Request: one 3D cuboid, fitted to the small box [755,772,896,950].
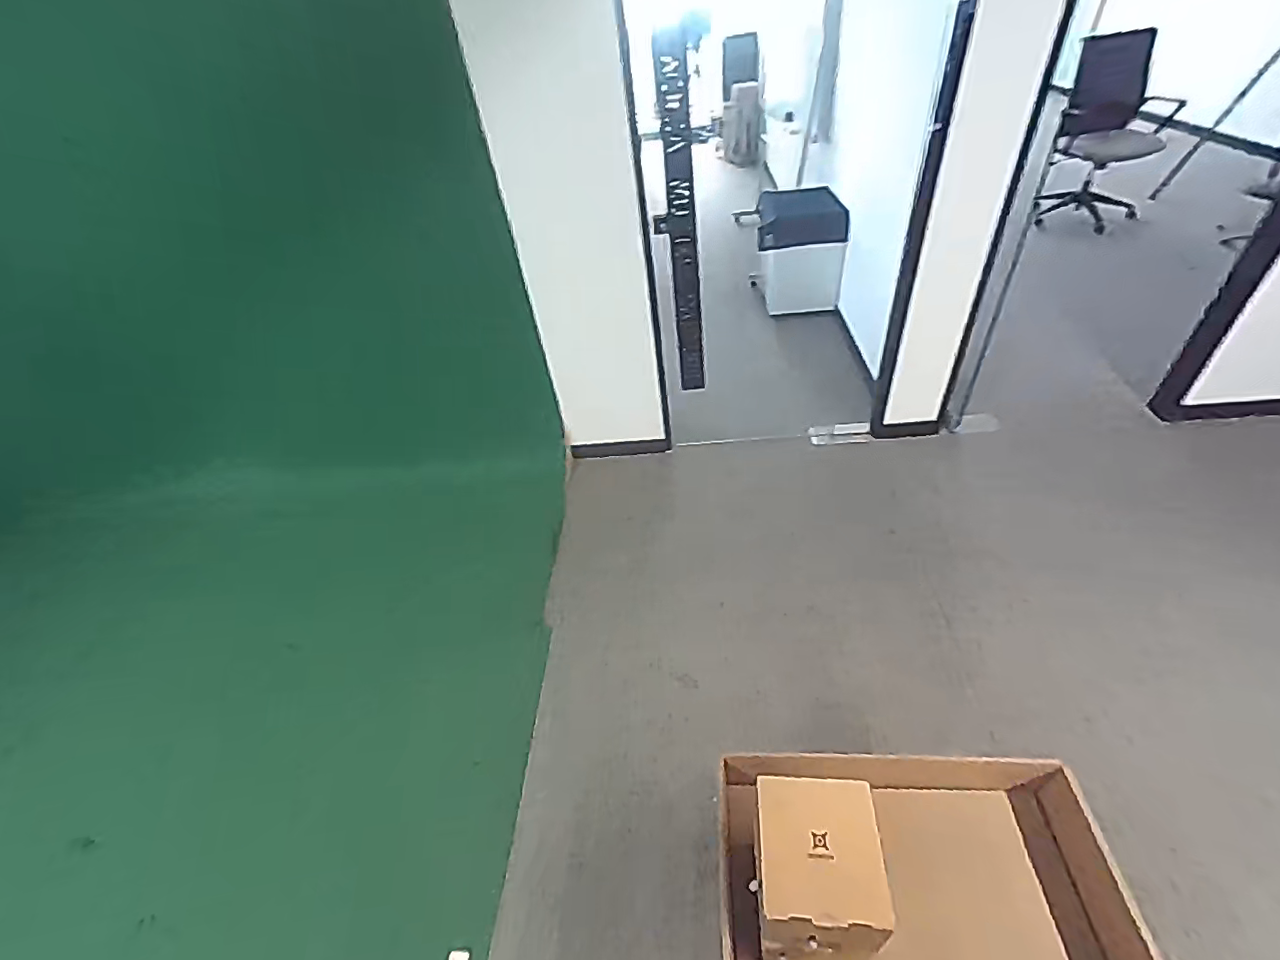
[{"bbox_3d":[0.261,0.566,0.807,0.168,0.176,0.179,-2,42,9],"label":"small box"}]
